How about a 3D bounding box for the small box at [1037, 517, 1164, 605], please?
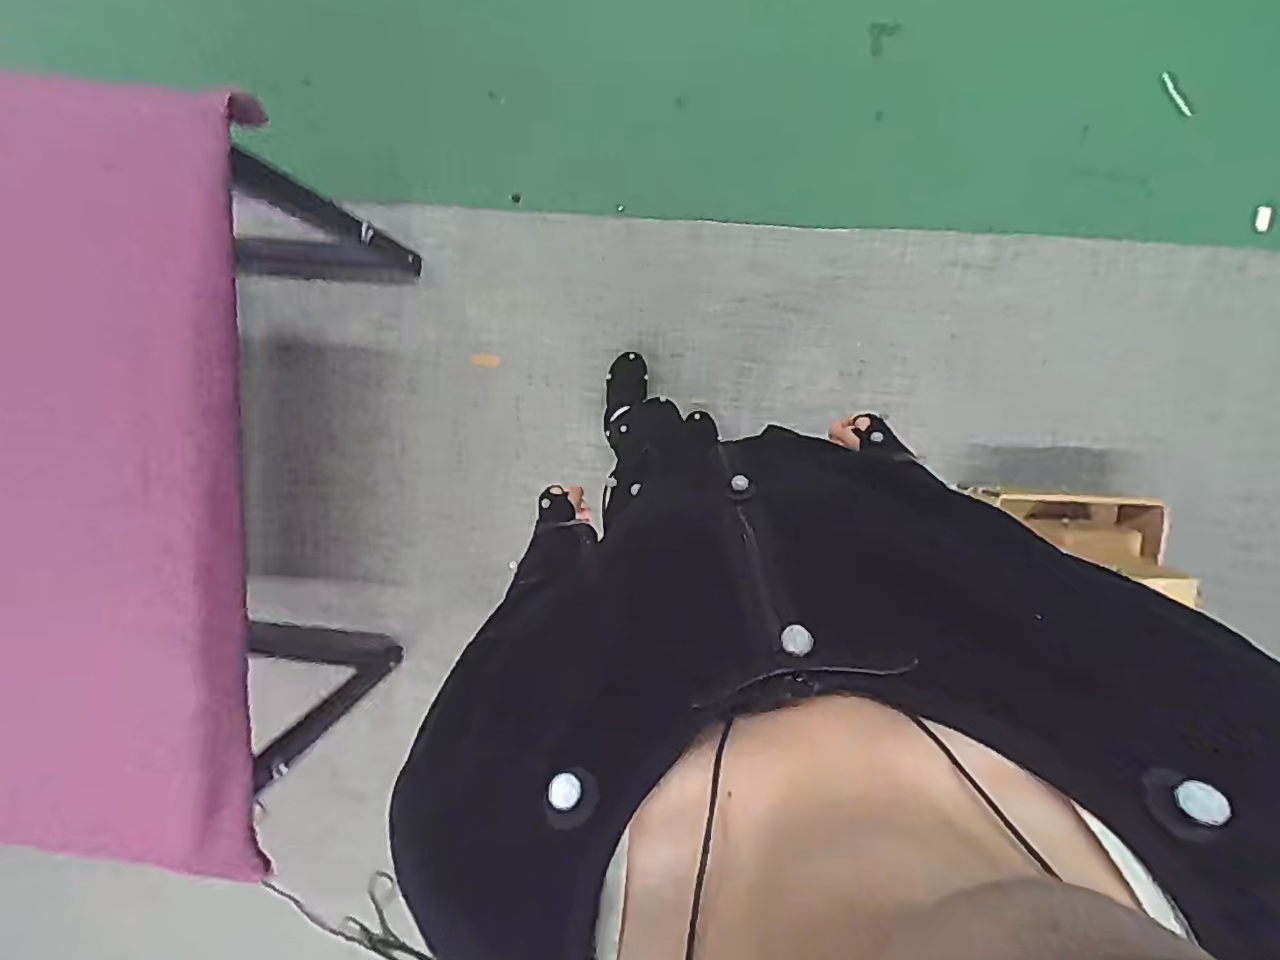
[{"bbox_3d":[1.101,0.188,1.307,0.168,0.176,0.179,-1,99,7],"label":"small box"}]
